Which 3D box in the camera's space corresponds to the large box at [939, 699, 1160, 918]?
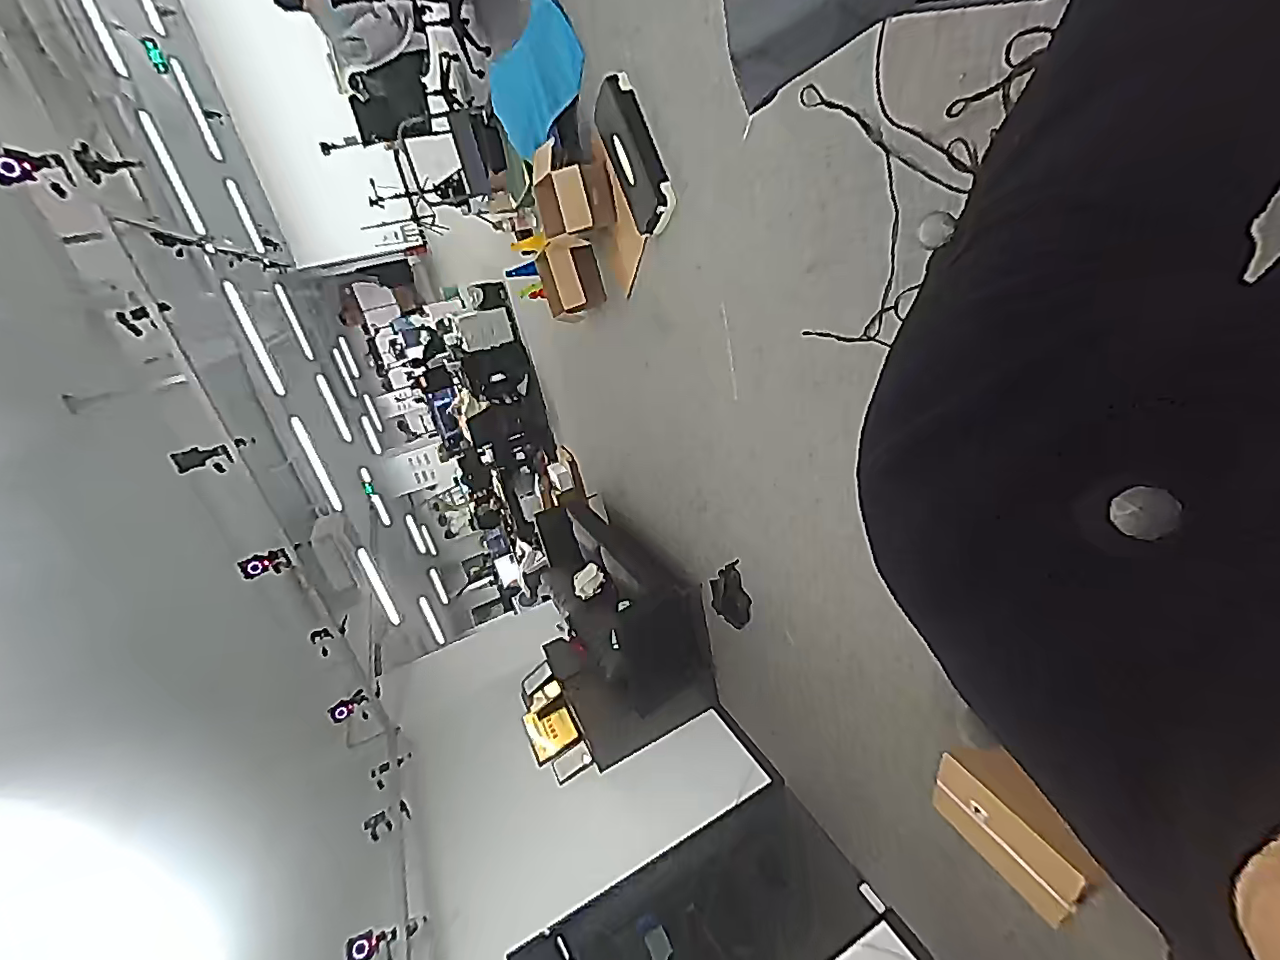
[{"bbox_3d":[1.194,0.961,1.621,0.408,0.320,0.320,45,151,53],"label":"large box"}]
